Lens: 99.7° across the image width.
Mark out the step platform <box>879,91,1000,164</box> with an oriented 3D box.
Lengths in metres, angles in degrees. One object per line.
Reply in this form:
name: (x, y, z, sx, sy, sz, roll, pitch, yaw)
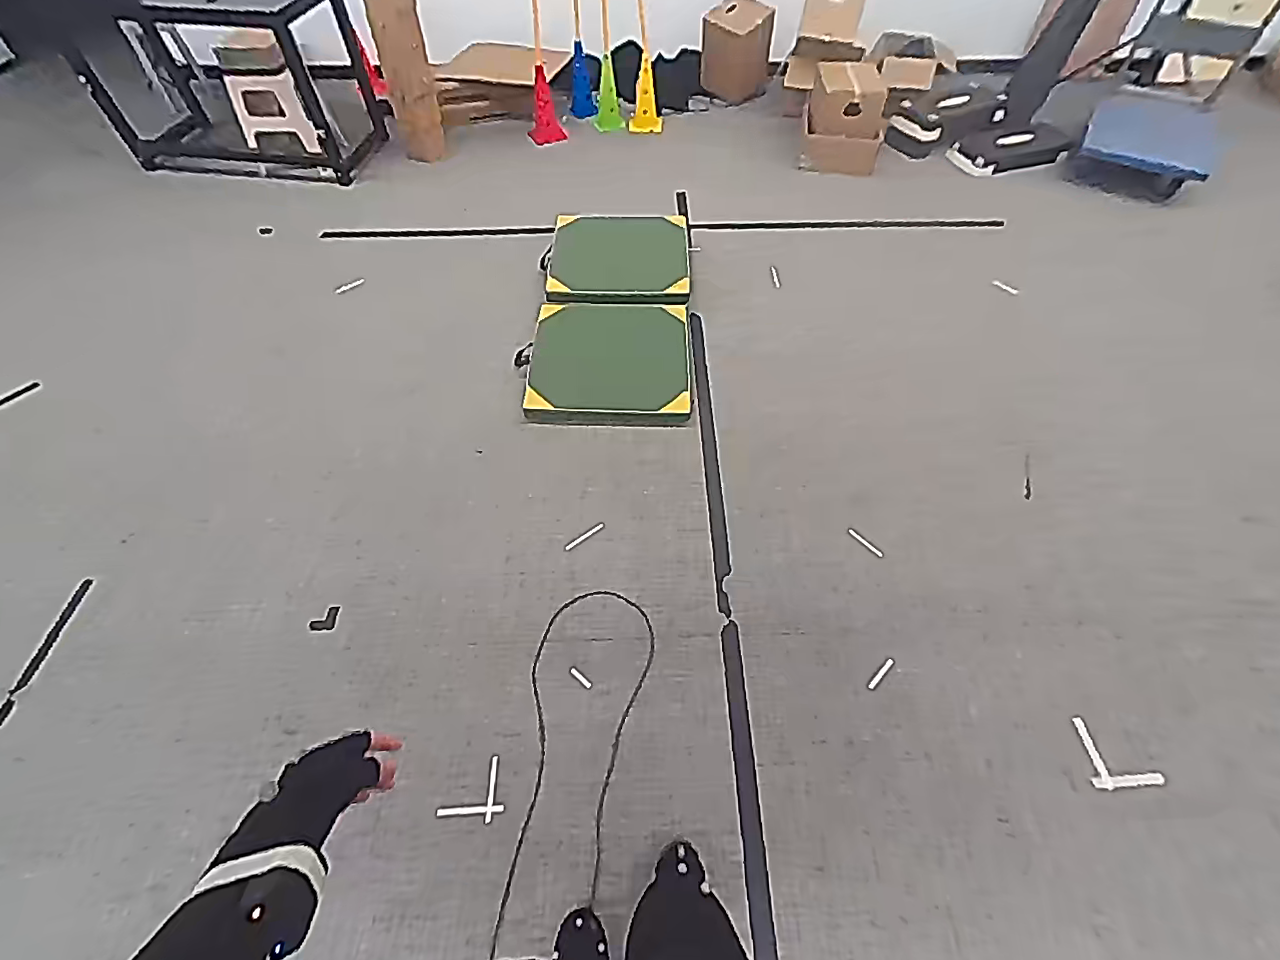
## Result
step platform: (1.763, -2.077, 3.176, 0.684, 0.204, 0.286, -25, 59, -17)
